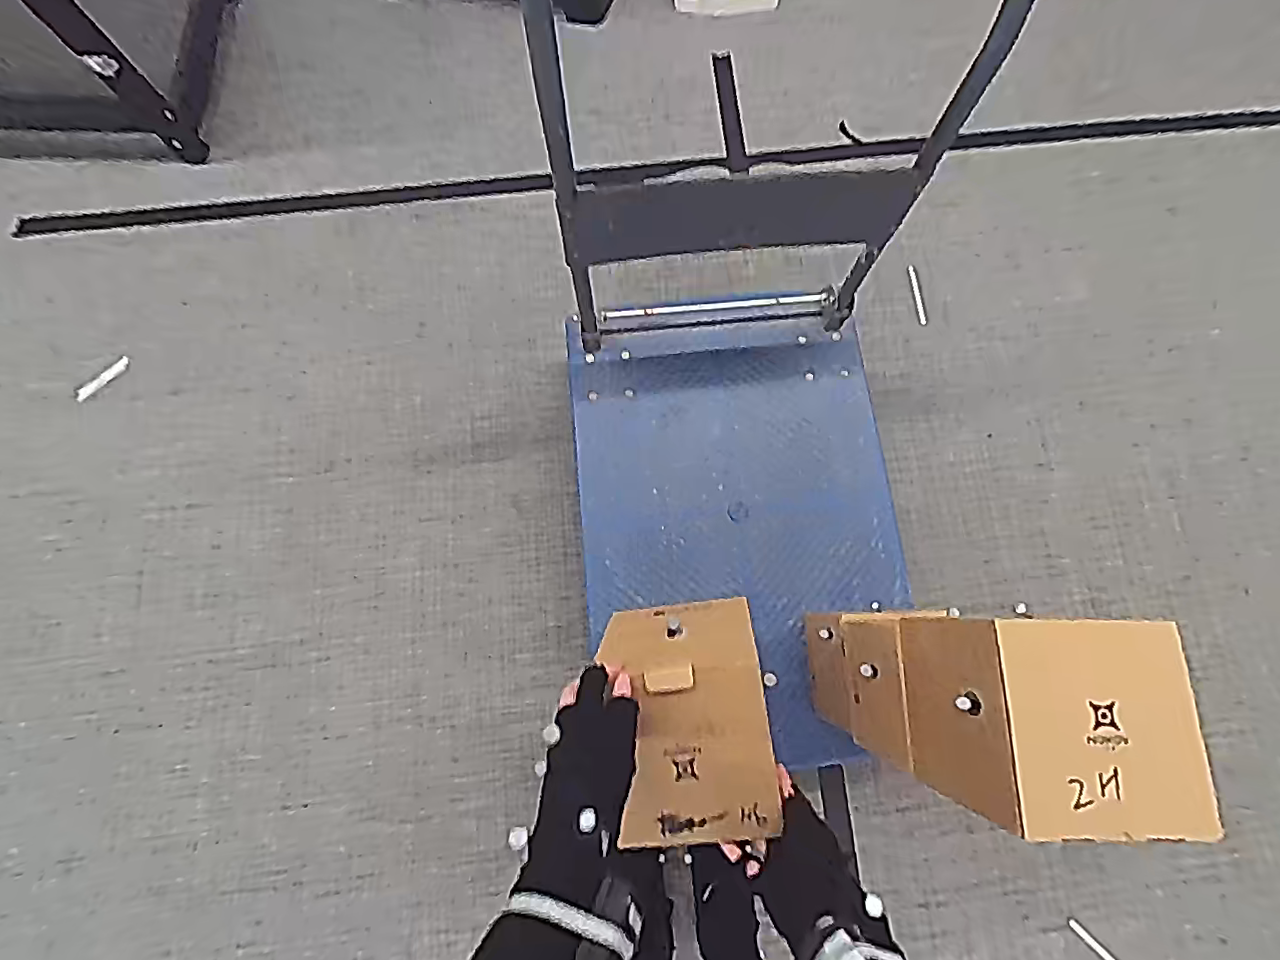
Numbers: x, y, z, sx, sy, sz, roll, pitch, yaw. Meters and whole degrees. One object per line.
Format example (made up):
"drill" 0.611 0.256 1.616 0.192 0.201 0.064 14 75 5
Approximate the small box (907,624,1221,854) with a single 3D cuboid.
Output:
"small box" 0.384 0.233 0.530 0.168 0.176 0.179 1 76 -1

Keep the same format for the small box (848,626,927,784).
"small box" 0.380 0.275 0.689 0.179 0.176 0.168 0 76 -2

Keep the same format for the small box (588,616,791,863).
"small box" 0.054 0.257 0.573 0.168 0.176 0.179 -10 98 9
